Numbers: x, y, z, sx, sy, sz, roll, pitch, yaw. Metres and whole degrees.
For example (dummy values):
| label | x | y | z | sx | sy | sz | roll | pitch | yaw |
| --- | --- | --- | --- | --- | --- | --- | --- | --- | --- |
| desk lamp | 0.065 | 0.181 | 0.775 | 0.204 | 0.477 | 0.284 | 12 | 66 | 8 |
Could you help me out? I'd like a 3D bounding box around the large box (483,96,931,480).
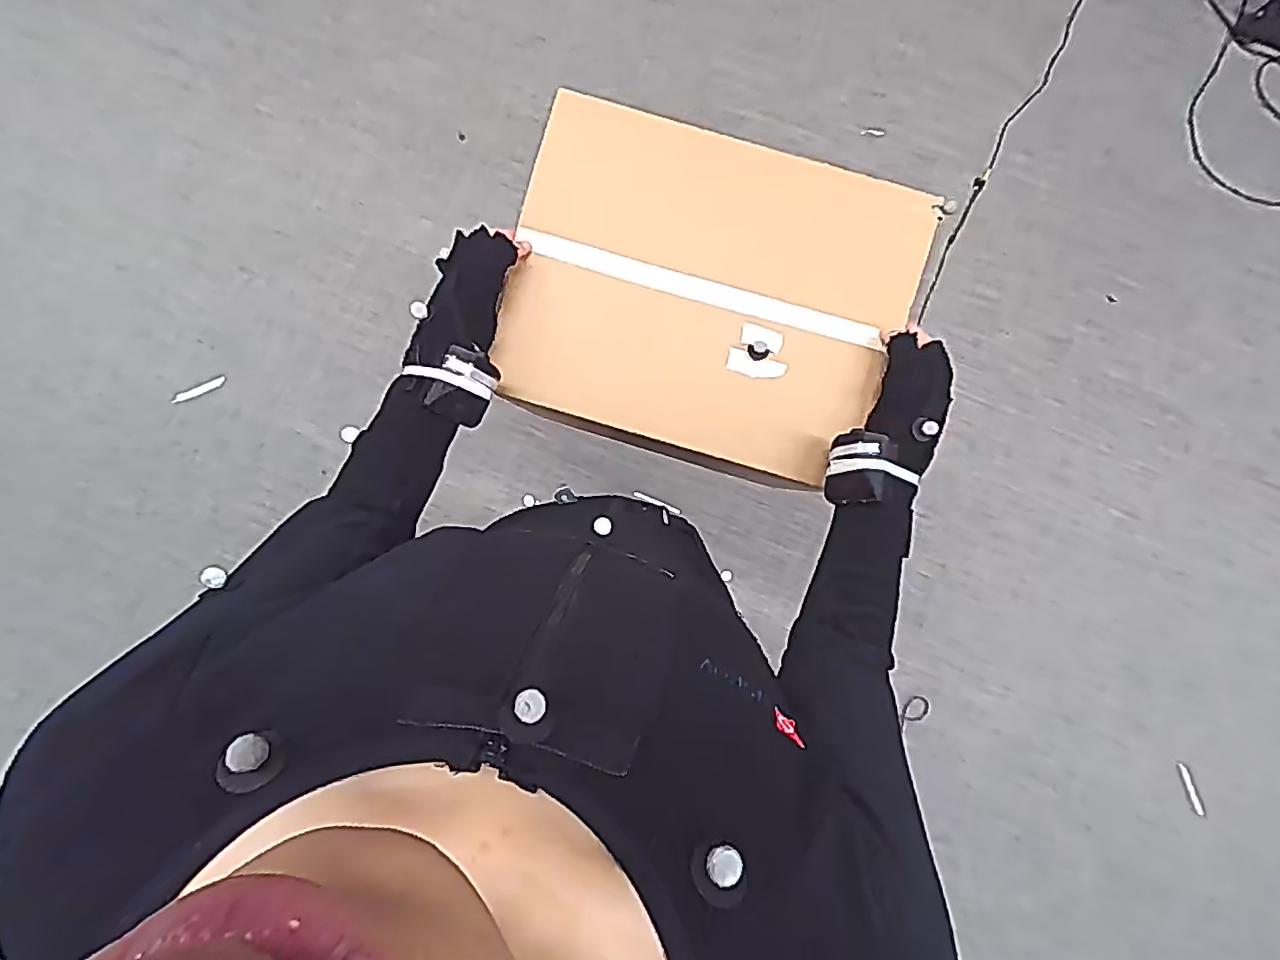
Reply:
| label | x | y | z | sx | sy | sz | roll | pitch | yaw |
| --- | --- | --- | --- | --- | --- | --- | --- | --- | --- |
| large box | 0.066 | -0.197 | 0.699 | 0.408 | 0.320 | 0.320 | 16 | 91 | 0 |
